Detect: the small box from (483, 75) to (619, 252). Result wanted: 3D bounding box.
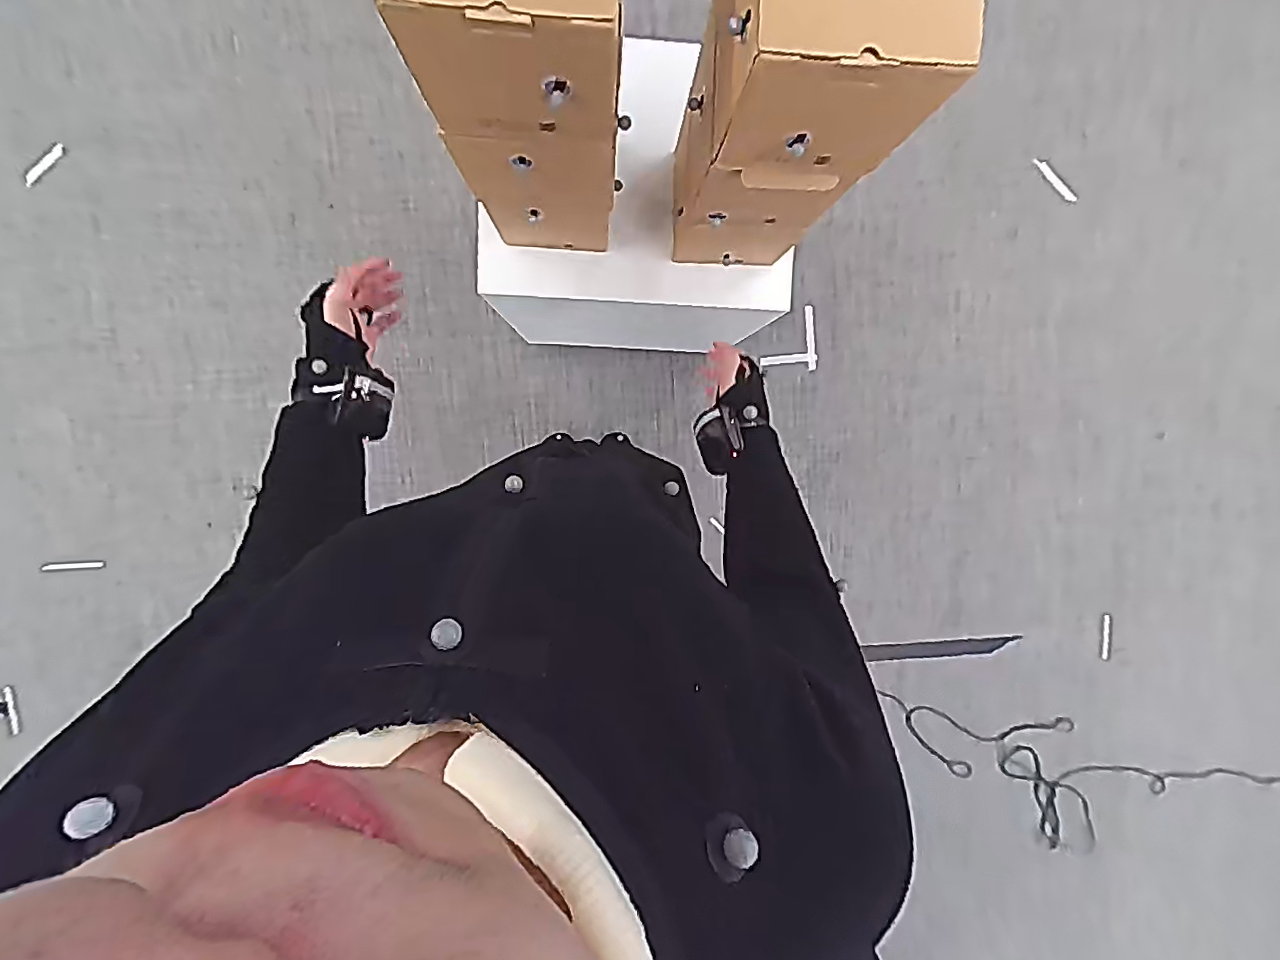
[{"bbox_3d":[-0.119,-0.445,0.763,0.168,0.176,0.179,3,95,-4],"label":"small box"}]

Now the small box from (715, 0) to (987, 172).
[{"bbox_3d":[0.161,-0.392,0.455,0.168,0.176,0.179,0,97,-3],"label":"small box"}]

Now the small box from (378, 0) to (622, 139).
[{"bbox_3d":[-0.097,-0.410,0.437,0.168,0.176,0.179,2,96,-5],"label":"small box"}]

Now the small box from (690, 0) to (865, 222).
[{"bbox_3d":[0.151,-0.412,0.617,0.168,0.176,0.179,1,96,-3],"label":"small box"}]
